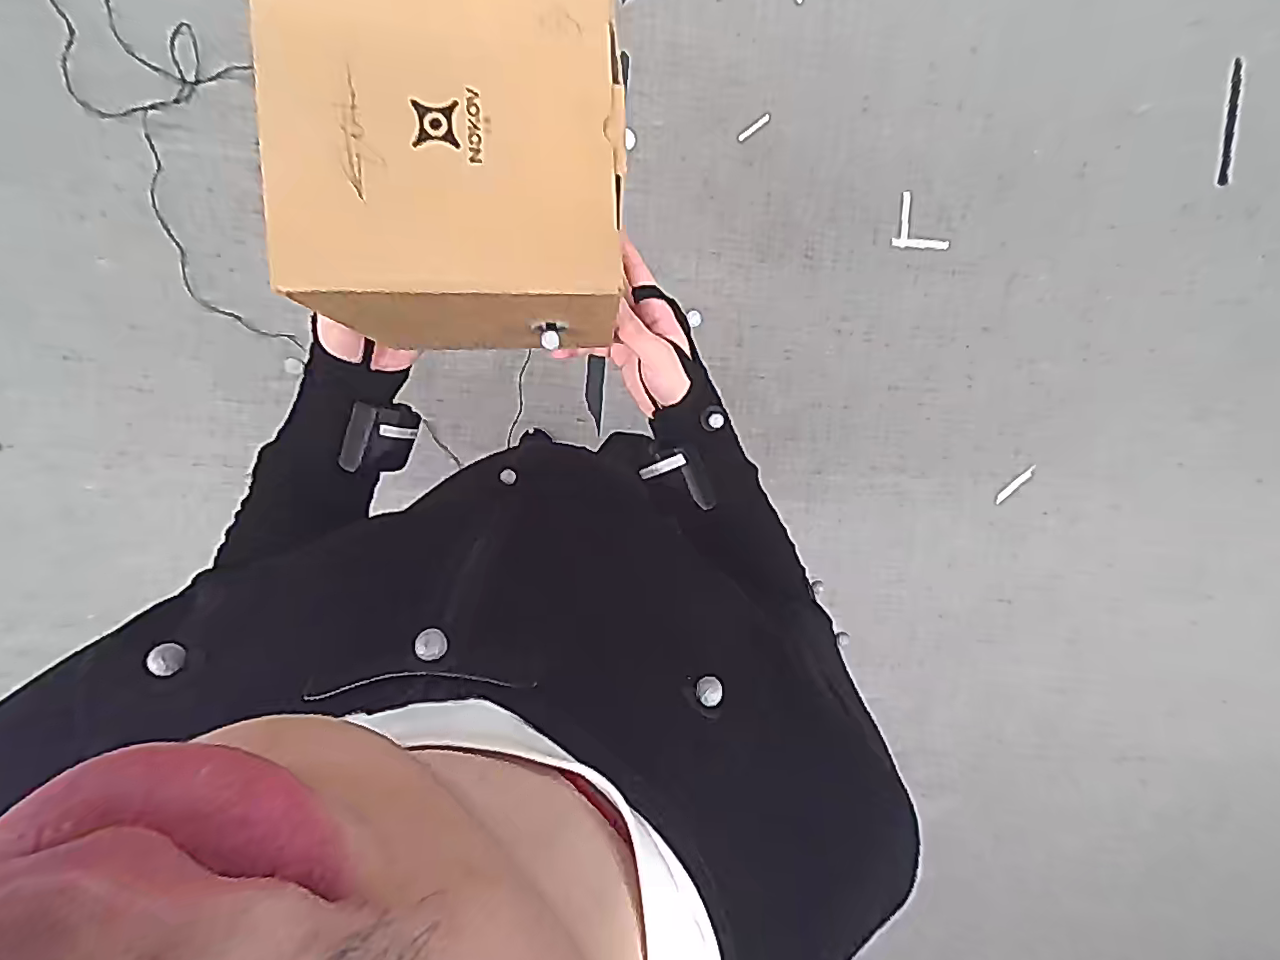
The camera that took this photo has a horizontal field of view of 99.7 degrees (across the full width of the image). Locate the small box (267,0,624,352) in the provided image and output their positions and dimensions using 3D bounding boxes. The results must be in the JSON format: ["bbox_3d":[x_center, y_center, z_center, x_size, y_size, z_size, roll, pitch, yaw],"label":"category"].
[{"bbox_3d":[-0.106,-0.183,0.360,0.179,0.176,0.168,-2,93,-5],"label":"small box"}]
